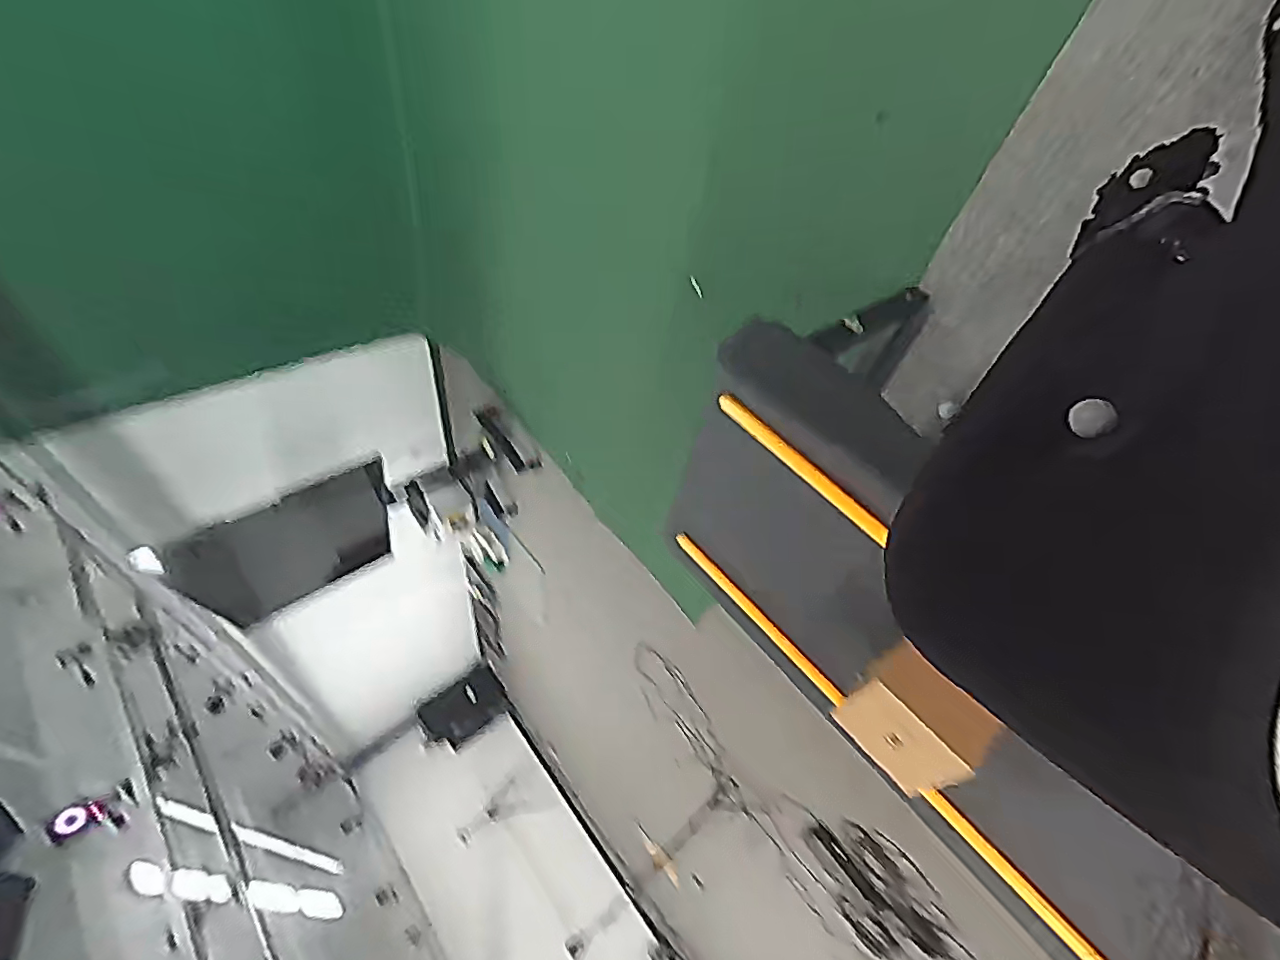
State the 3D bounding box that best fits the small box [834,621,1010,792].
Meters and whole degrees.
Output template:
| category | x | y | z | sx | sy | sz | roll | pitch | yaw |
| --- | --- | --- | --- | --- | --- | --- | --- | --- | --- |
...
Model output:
| category | x | y | z | sx | sy | sz | roll | pitch | yaw |
| --- | --- | --- | --- | --- | --- | --- | --- | --- | --- |
| small box | 0.464 | 0.370 | 0.894 | 0.168 | 0.176 | 0.179 | 44 | 145 | 25 |
